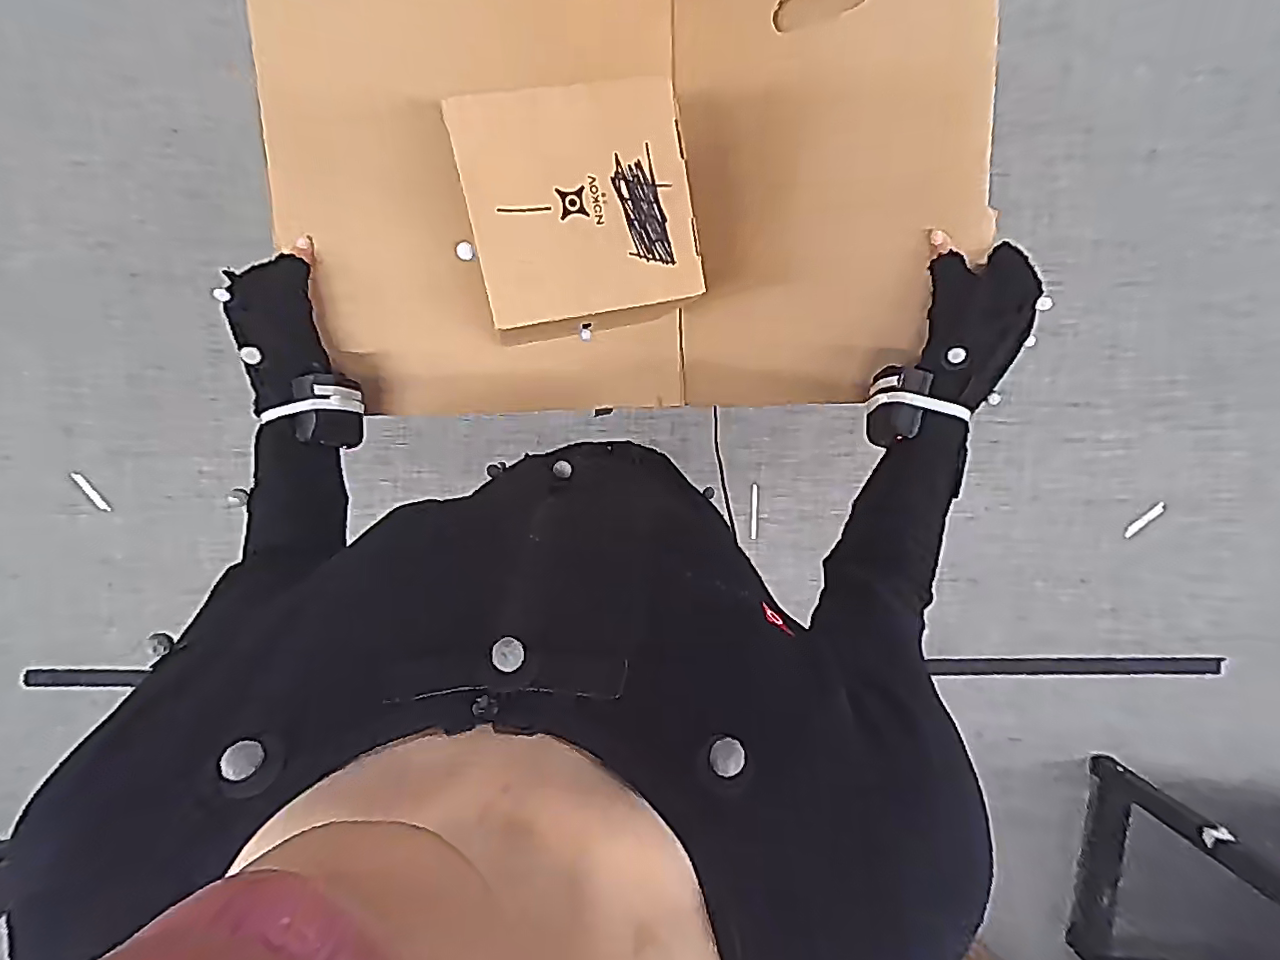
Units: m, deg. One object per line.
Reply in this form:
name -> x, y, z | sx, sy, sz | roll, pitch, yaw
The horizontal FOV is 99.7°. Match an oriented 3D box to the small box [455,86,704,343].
small box -> -0.059, -0.229, 0.504 | 0.179, 0.176, 0.168 | -13, 101, -11
